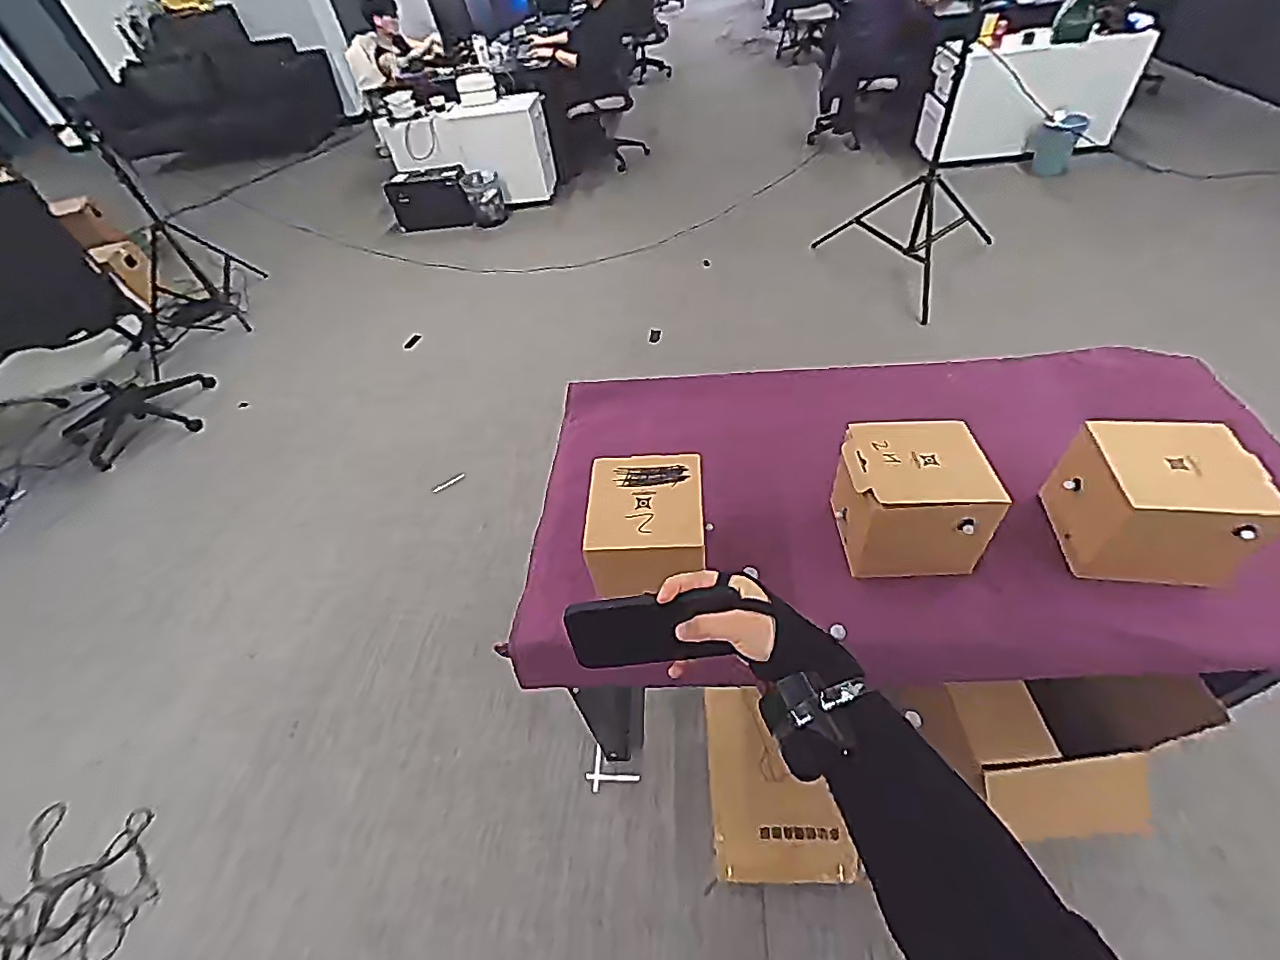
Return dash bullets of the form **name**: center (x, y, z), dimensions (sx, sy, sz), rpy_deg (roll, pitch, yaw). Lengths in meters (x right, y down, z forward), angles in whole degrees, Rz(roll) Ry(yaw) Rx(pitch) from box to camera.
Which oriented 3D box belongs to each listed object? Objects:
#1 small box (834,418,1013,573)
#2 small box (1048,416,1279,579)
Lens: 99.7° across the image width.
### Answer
- **small box**: center (0.409, 0.027, 0.817), dimensions (0.179, 0.176, 0.168), rpy_deg (-4, 45, 6)
- **small box**: center (0.724, 0.026, 0.771), dimensions (0.179, 0.176, 0.168), rpy_deg (2, 49, 10)
